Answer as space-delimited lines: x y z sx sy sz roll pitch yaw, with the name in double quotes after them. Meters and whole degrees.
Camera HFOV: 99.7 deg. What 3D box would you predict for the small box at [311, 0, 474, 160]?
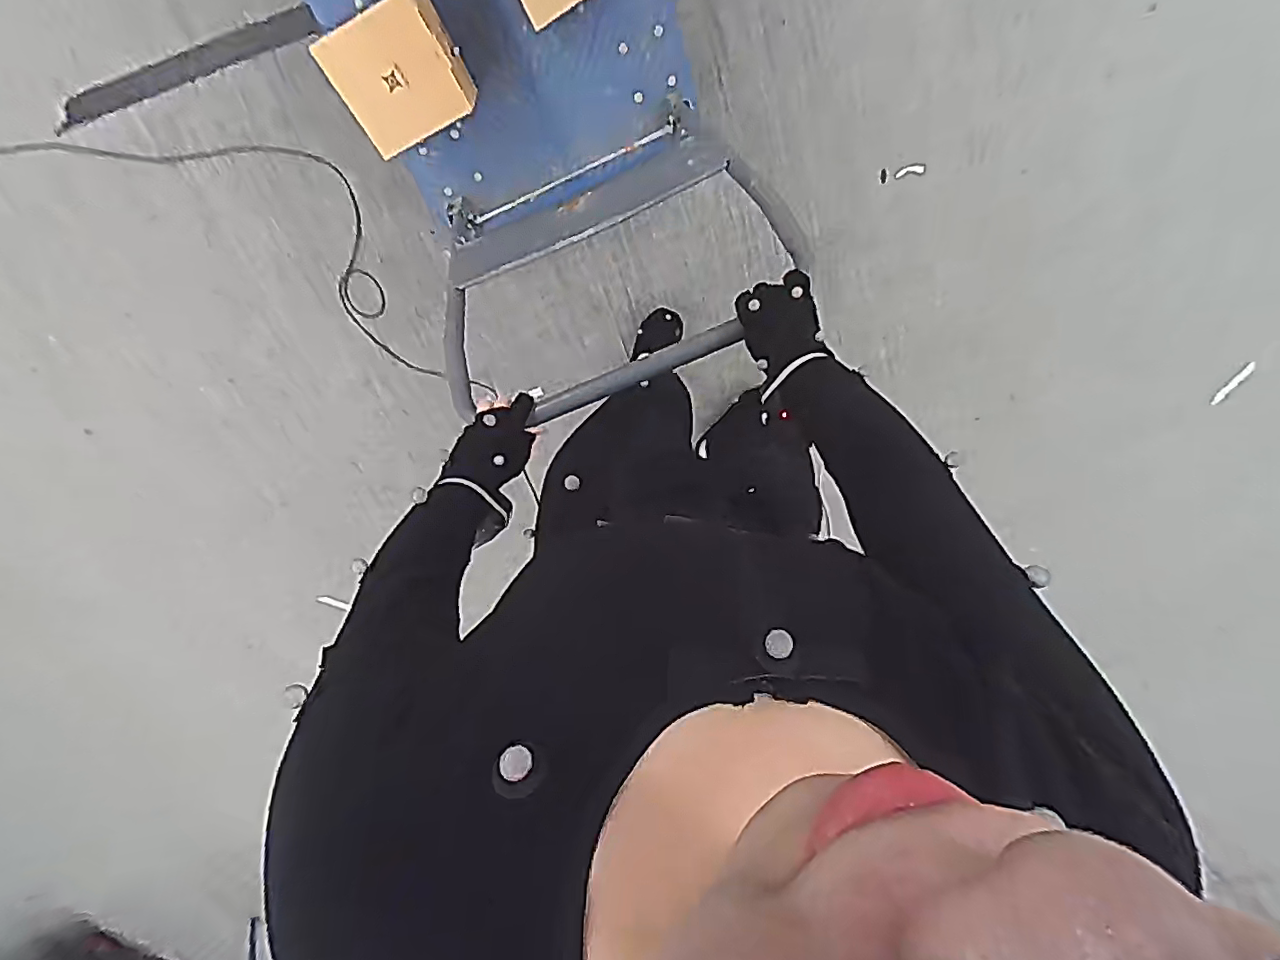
-0.393 -0.670 0.897 0.179 0.176 0.168 -25 133 8 "small box"
